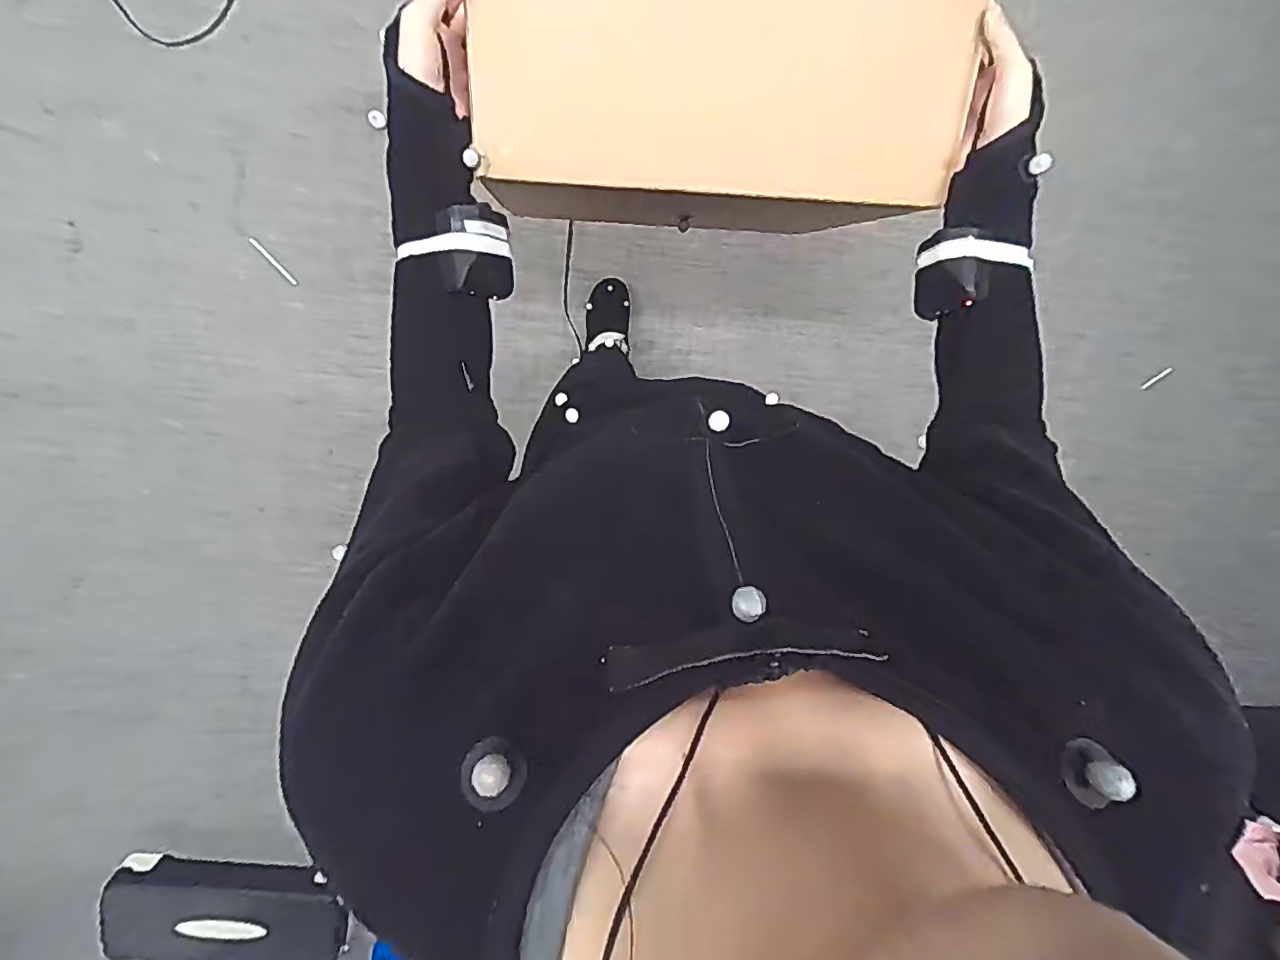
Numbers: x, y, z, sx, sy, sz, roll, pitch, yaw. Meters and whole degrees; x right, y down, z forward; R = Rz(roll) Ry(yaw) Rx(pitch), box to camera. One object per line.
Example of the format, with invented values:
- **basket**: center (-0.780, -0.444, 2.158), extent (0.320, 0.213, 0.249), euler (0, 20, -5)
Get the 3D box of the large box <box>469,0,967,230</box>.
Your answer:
- **large box**: center (0.054, -0.439, 0.553), extent (0.408, 0.320, 0.320), euler (0, 109, -7)
